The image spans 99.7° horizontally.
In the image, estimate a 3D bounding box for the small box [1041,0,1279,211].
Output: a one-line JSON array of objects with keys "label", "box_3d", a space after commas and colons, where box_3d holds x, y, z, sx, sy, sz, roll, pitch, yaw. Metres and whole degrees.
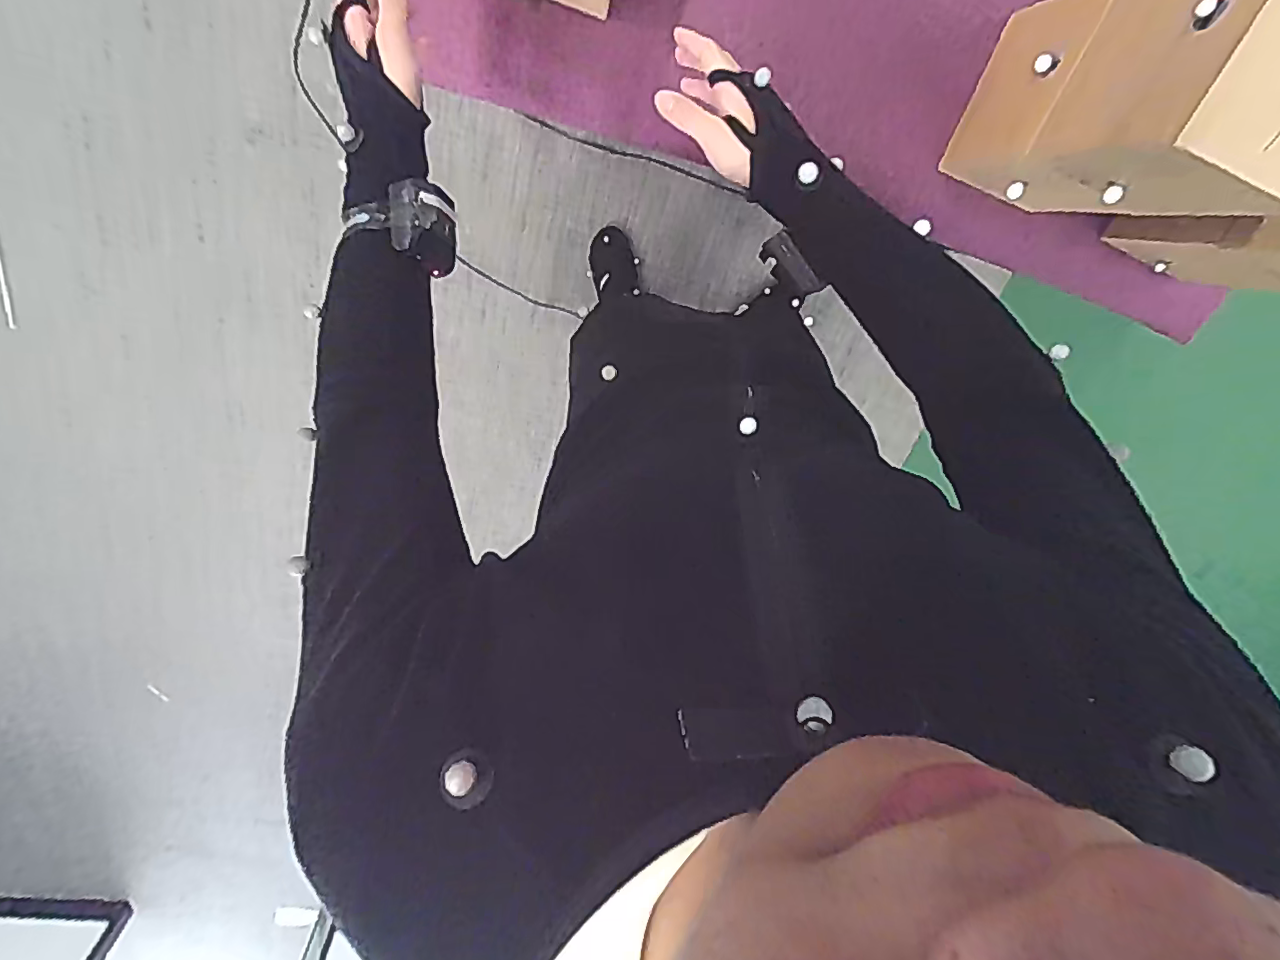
[{"label": "small box", "box_3d": [0.523, -0.362, 0.485, 0.168, 0.176, 0.179, 15, 115, -12]}]

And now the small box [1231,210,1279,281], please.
[{"label": "small box", "box_3d": [0.789, -0.288, 0.544, 0.168, 0.176, 0.179, 17, 114, -12]}]

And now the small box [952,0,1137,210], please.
[{"label": "small box", "box_3d": [0.508, -0.435, 0.632, 0.168, 0.176, 0.179, 14, 114, -12]}]

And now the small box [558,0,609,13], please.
[{"label": "small box", "box_3d": [-0.085, -0.585, 0.496, 0.168, 0.176, 0.179, 13, 115, -11]}]
